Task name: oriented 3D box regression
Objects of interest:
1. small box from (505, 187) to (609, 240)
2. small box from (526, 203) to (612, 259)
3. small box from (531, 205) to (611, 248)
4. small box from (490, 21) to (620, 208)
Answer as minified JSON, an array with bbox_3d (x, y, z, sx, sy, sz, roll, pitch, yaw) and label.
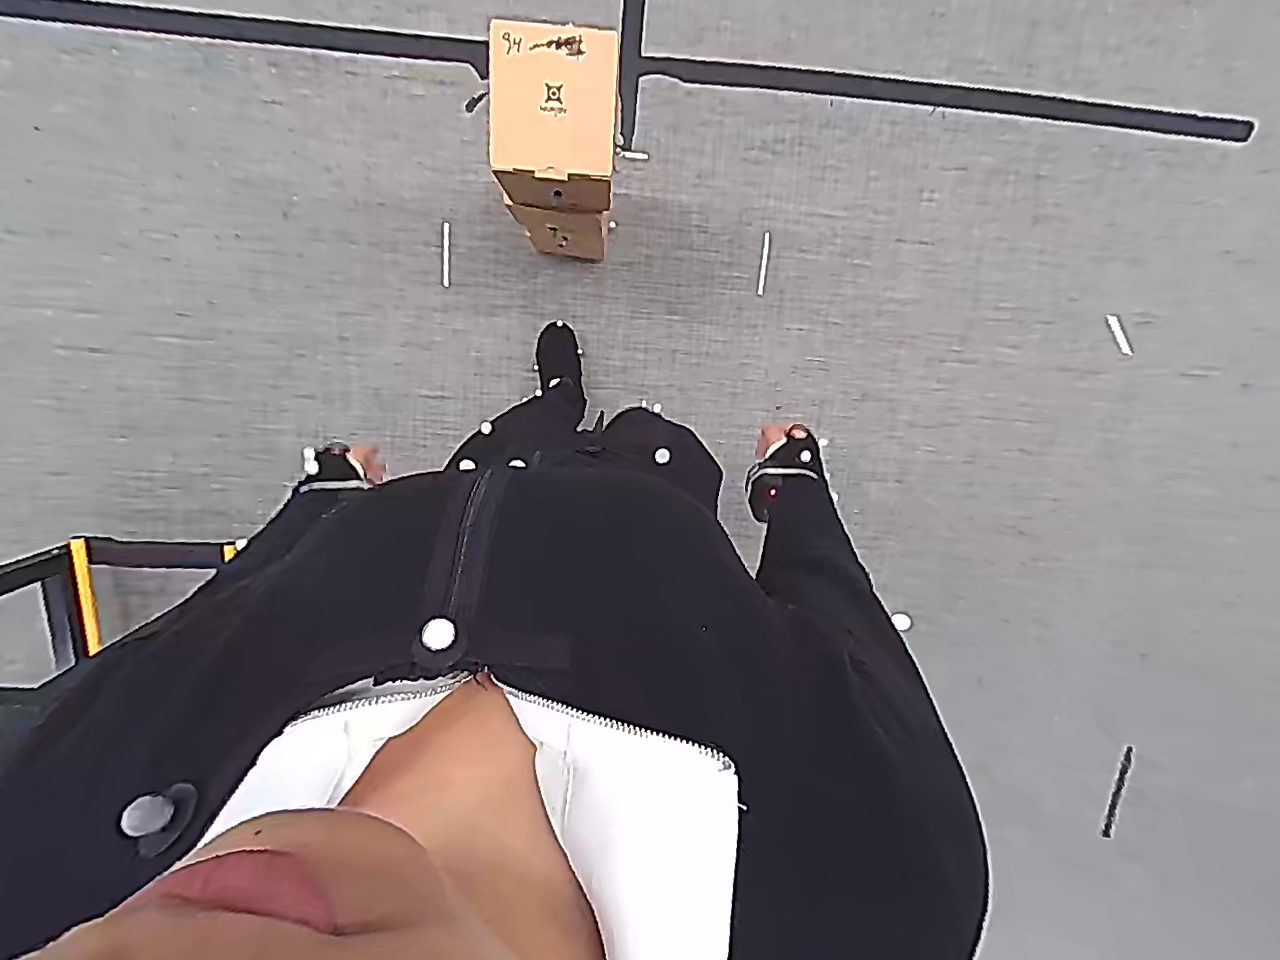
[{"bbox_3d":[-0.132,-0.539,0.944,0.168,0.176,0.179,7,104,-4],"label":"small box"},{"bbox_3d":[-0.159,-0.623,1.259,0.179,0.176,0.168,7,103,-6],"label":"small box"},{"bbox_3d":[-0.141,-0.590,1.099,0.168,0.176,0.179,7,103,-5],"label":"small box"},{"bbox_3d":[-0.116,-0.509,0.783,0.168,0.176,0.179,4,104,-4],"label":"small box"}]
